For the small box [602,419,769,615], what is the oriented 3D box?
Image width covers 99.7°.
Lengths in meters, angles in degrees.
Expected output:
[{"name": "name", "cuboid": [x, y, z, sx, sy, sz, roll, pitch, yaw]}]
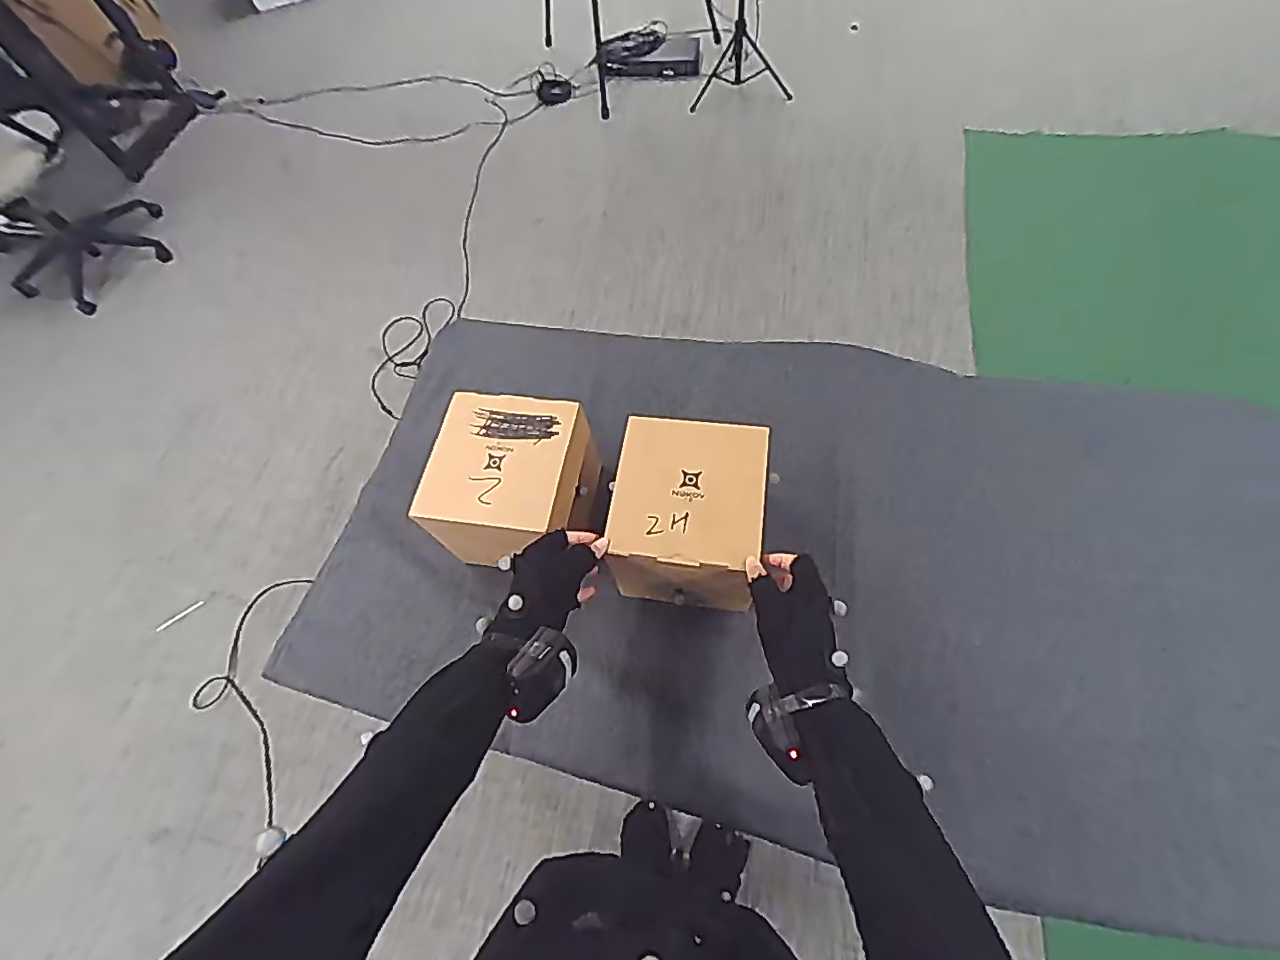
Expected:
[{"name": "small box", "cuboid": [0.060, 0.050, 0.664, 0.168, 0.176, 0.179, 6, 63, 10]}]
